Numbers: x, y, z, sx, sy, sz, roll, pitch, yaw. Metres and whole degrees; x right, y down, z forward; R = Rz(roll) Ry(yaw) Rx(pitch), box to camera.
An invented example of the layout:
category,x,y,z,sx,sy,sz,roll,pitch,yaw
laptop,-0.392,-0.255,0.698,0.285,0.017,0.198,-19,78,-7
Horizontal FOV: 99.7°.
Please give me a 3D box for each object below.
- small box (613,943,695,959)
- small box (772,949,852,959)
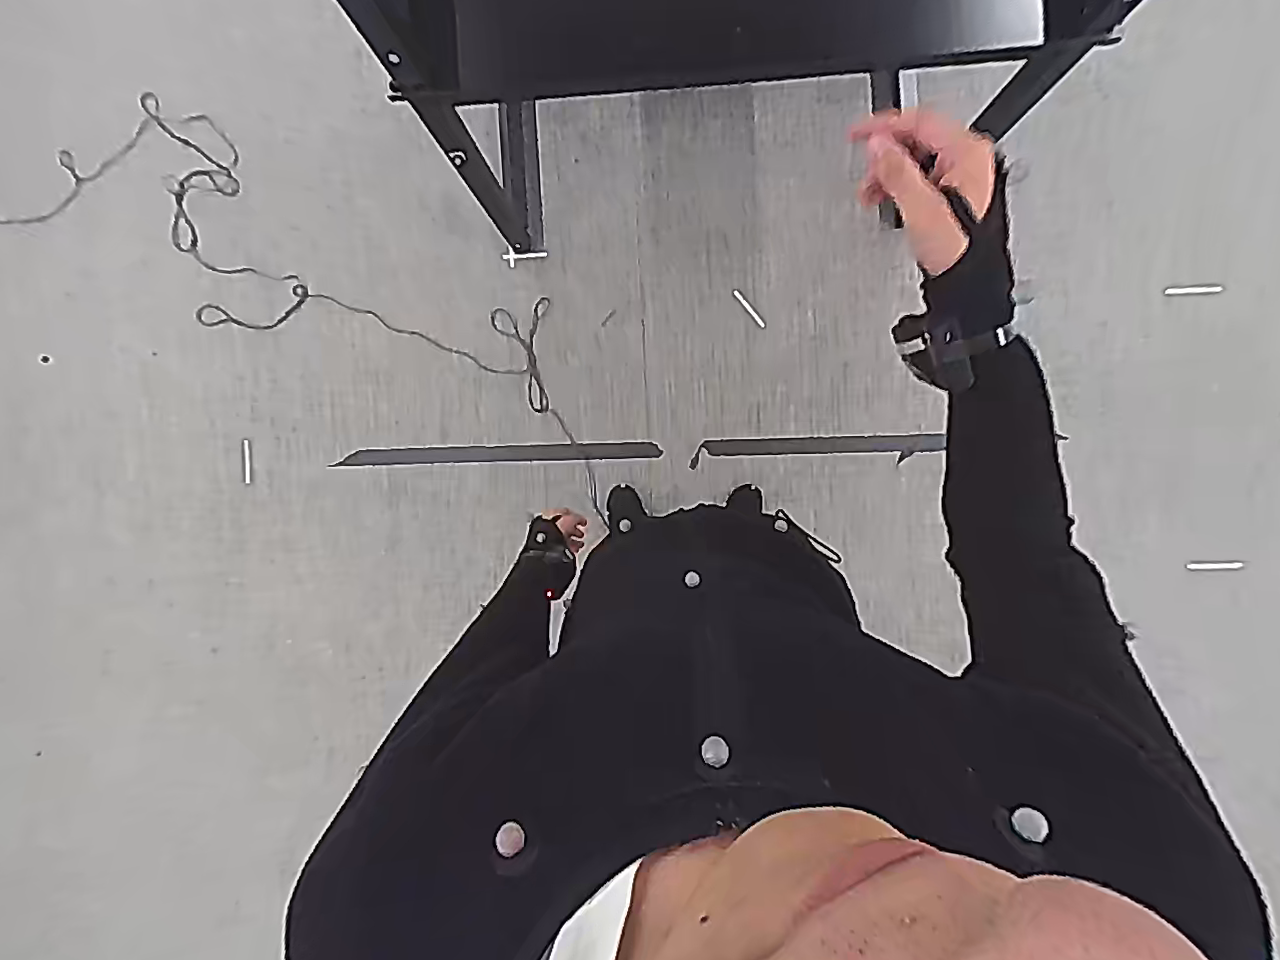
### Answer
category,x,y,z,sx,sy,sz,roll,pitch,yaw
small box,0.032,1.021,1.006,0.168,0.176,0.179,-5,92,1
small box,0.341,1.016,0.996,0.168,0.176,0.179,-2,92,3
